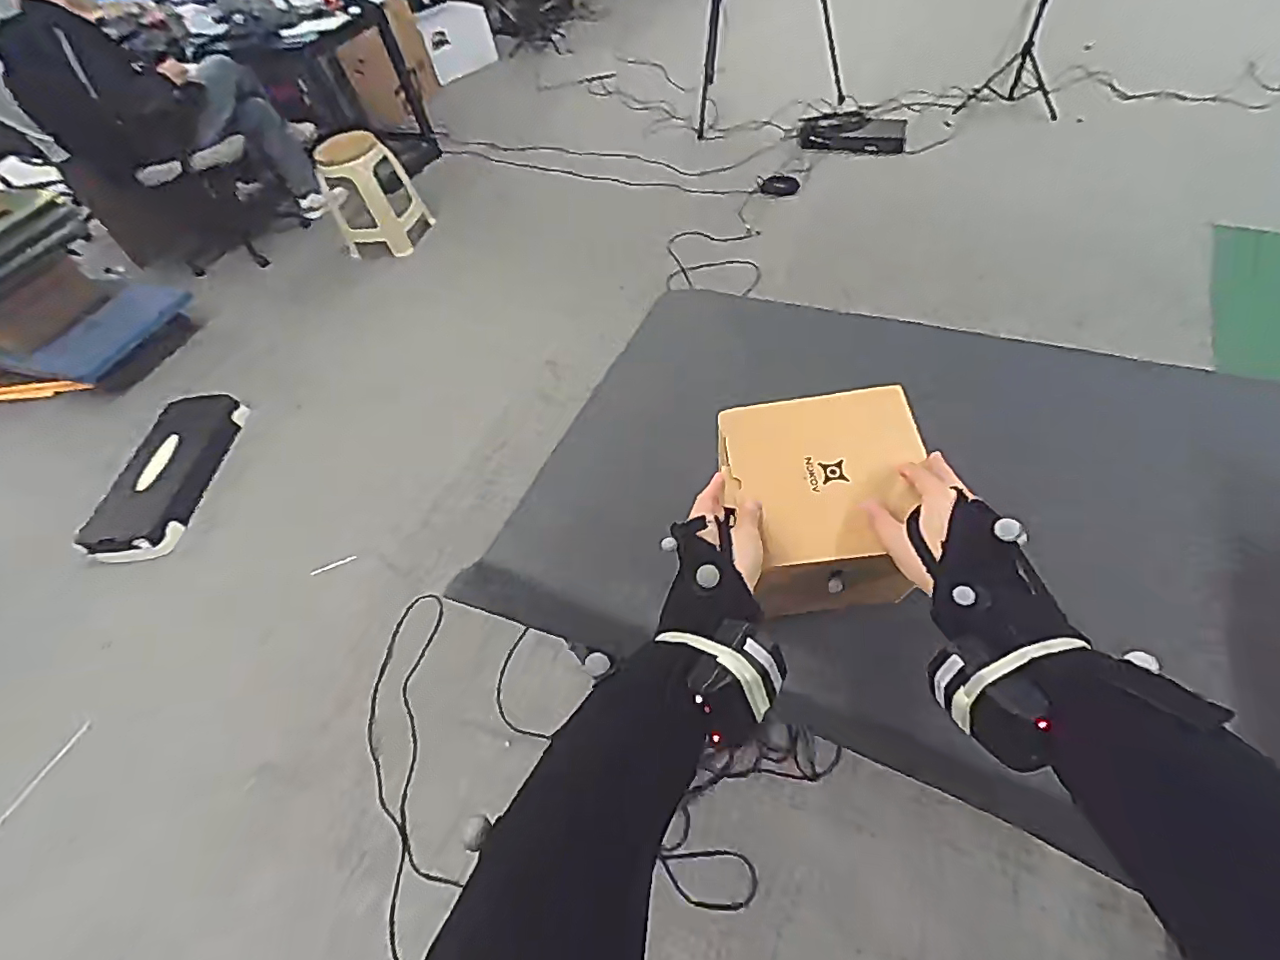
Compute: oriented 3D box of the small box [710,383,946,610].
[{"bbox_3d":[0.168,0.027,0.550,0.179,0.176,0.168,-8,62,5],"label":"small box"}]
